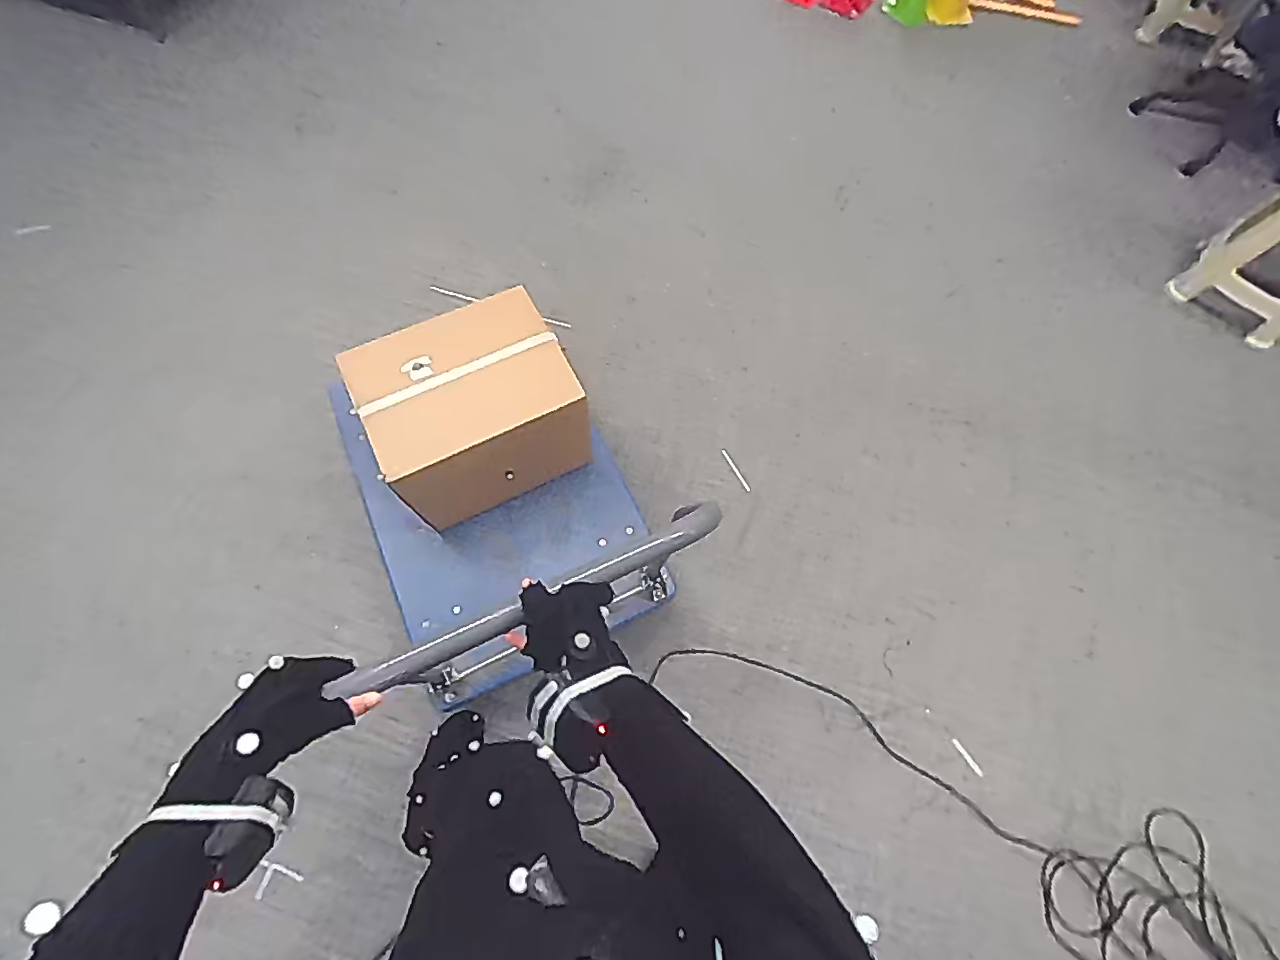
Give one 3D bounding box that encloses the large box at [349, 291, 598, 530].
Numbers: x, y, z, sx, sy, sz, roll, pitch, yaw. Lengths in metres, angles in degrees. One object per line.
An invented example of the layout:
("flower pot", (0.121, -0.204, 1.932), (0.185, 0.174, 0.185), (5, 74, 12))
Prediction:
("large box", (-0.343, -0.142, 1.212), (0.408, 0.320, 0.320), (-27, 71, -12))
